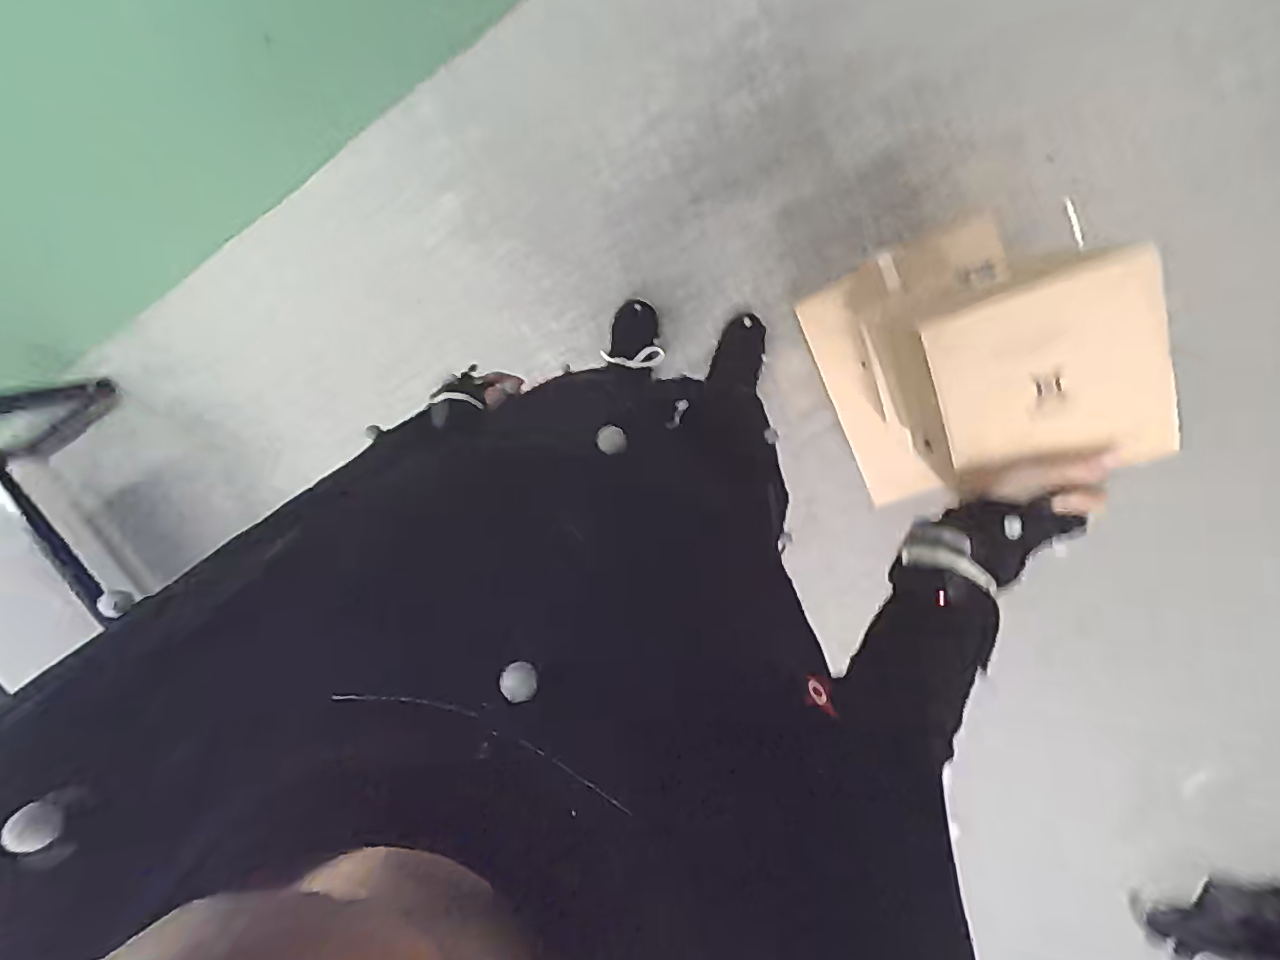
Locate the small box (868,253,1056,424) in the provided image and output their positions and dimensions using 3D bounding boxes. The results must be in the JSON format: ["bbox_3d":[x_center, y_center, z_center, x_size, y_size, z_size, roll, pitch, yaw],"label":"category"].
[{"bbox_3d":[0.398,-0.156,0.664,0.168,0.176,0.179,-21,106,20],"label":"small box"}]

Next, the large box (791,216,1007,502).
[{"bbox_3d":[0.520,-0.235,1.051,0.320,0.320,0.408,-22,105,21],"label":"large box"}]

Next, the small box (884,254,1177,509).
[{"bbox_3d":[0.353,-0.100,0.518,0.168,0.176,0.179,-18,107,18],"label":"small box"}]
